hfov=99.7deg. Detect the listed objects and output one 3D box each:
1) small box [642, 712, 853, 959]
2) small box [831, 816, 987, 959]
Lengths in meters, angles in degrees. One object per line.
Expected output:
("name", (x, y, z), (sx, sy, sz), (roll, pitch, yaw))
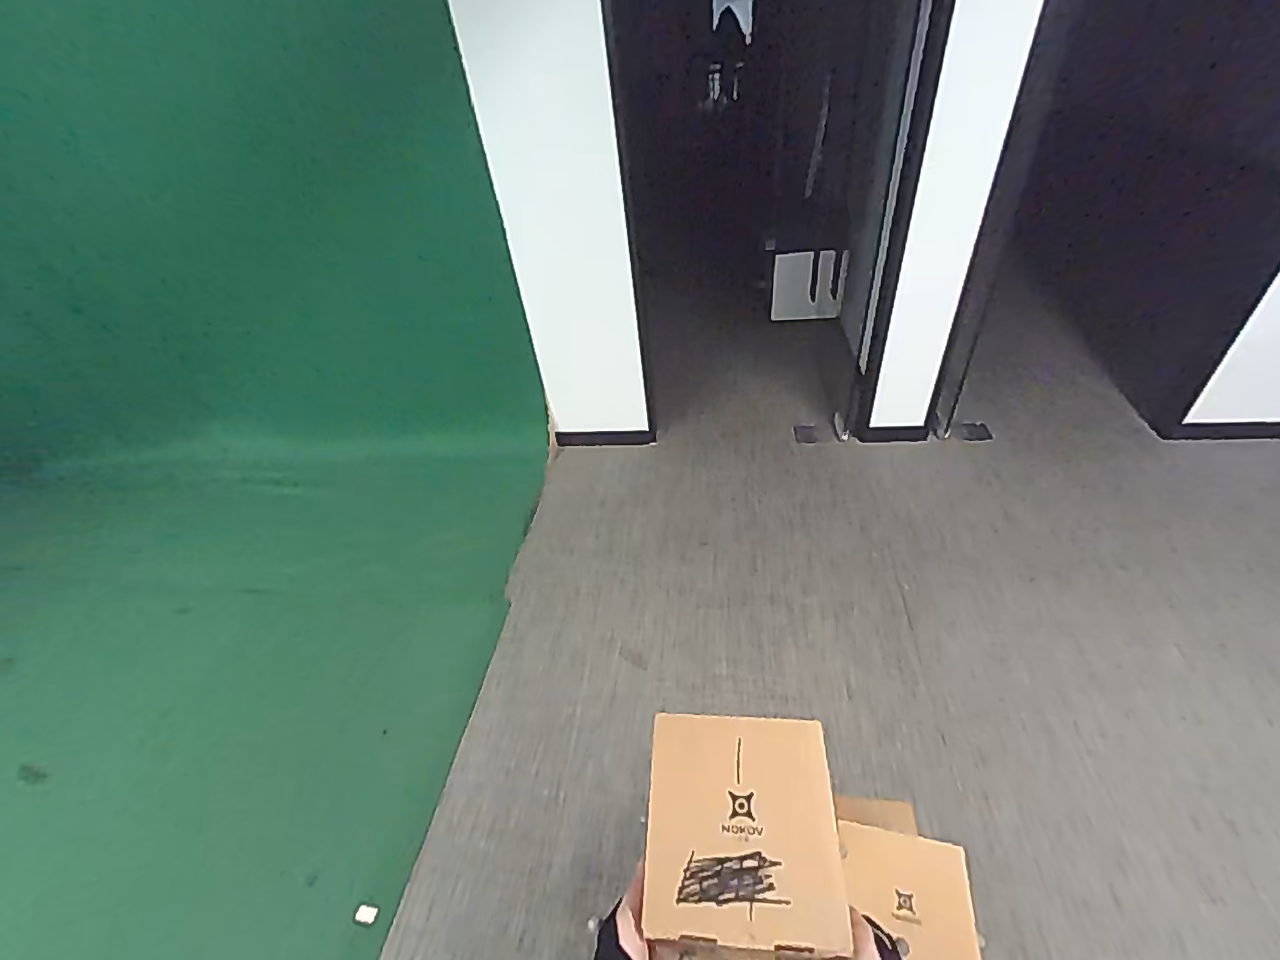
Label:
("small box", (0.096, 0.349, 0.530), (0.168, 0.176, 0.179), (-1, 46, 6))
("small box", (0.357, 0.608, 0.750), (0.168, 0.176, 0.179), (3, 41, 15))
